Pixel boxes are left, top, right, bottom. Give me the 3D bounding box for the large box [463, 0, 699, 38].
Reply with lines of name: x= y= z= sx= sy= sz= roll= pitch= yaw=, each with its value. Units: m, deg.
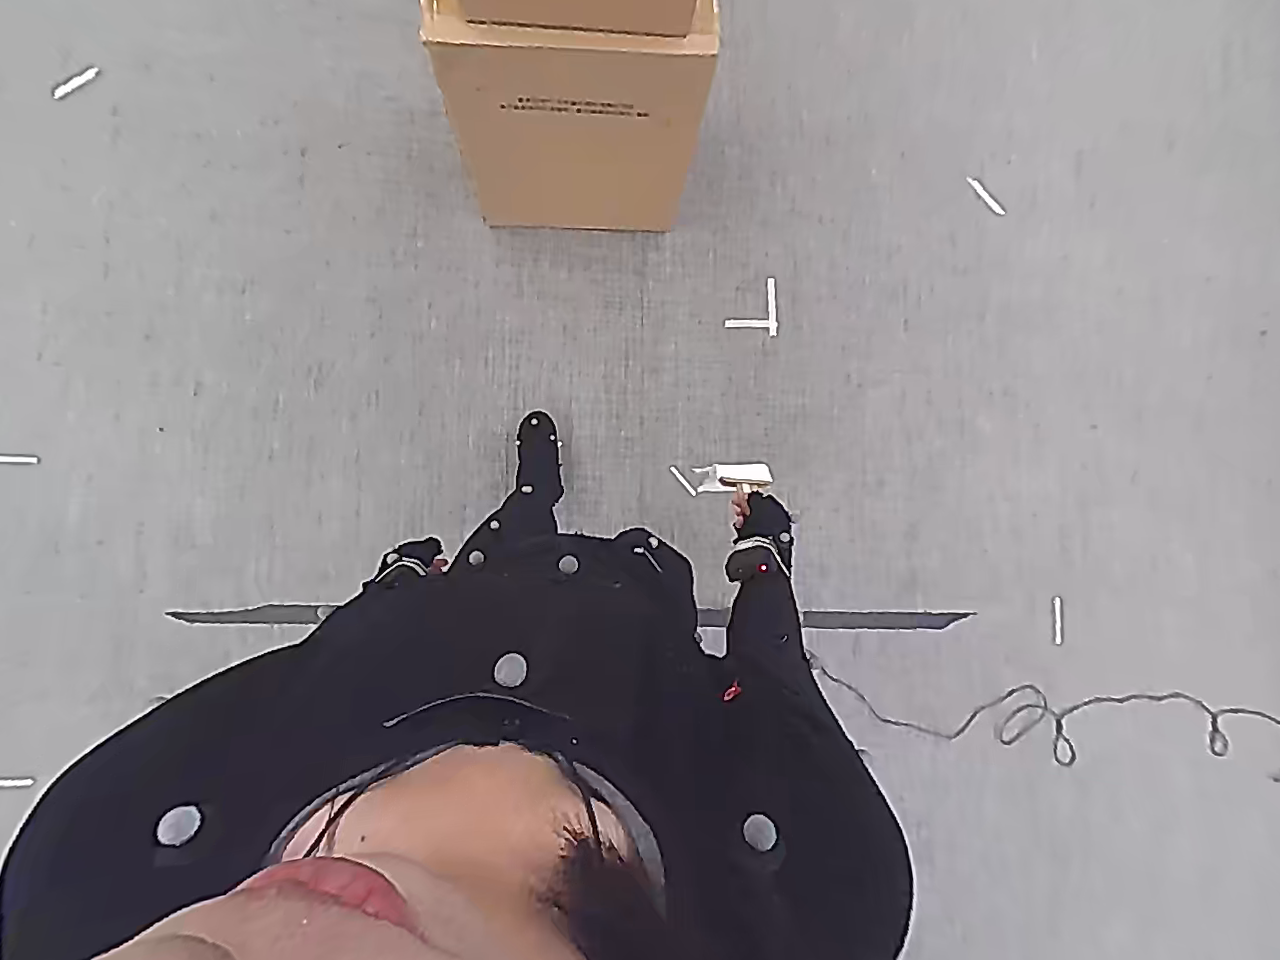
large box: x=-0.094 y=-0.953 z=0.824 sx=0.408 sy=0.320 sz=0.320 roll=-1 pitch=87 yaw=-7
